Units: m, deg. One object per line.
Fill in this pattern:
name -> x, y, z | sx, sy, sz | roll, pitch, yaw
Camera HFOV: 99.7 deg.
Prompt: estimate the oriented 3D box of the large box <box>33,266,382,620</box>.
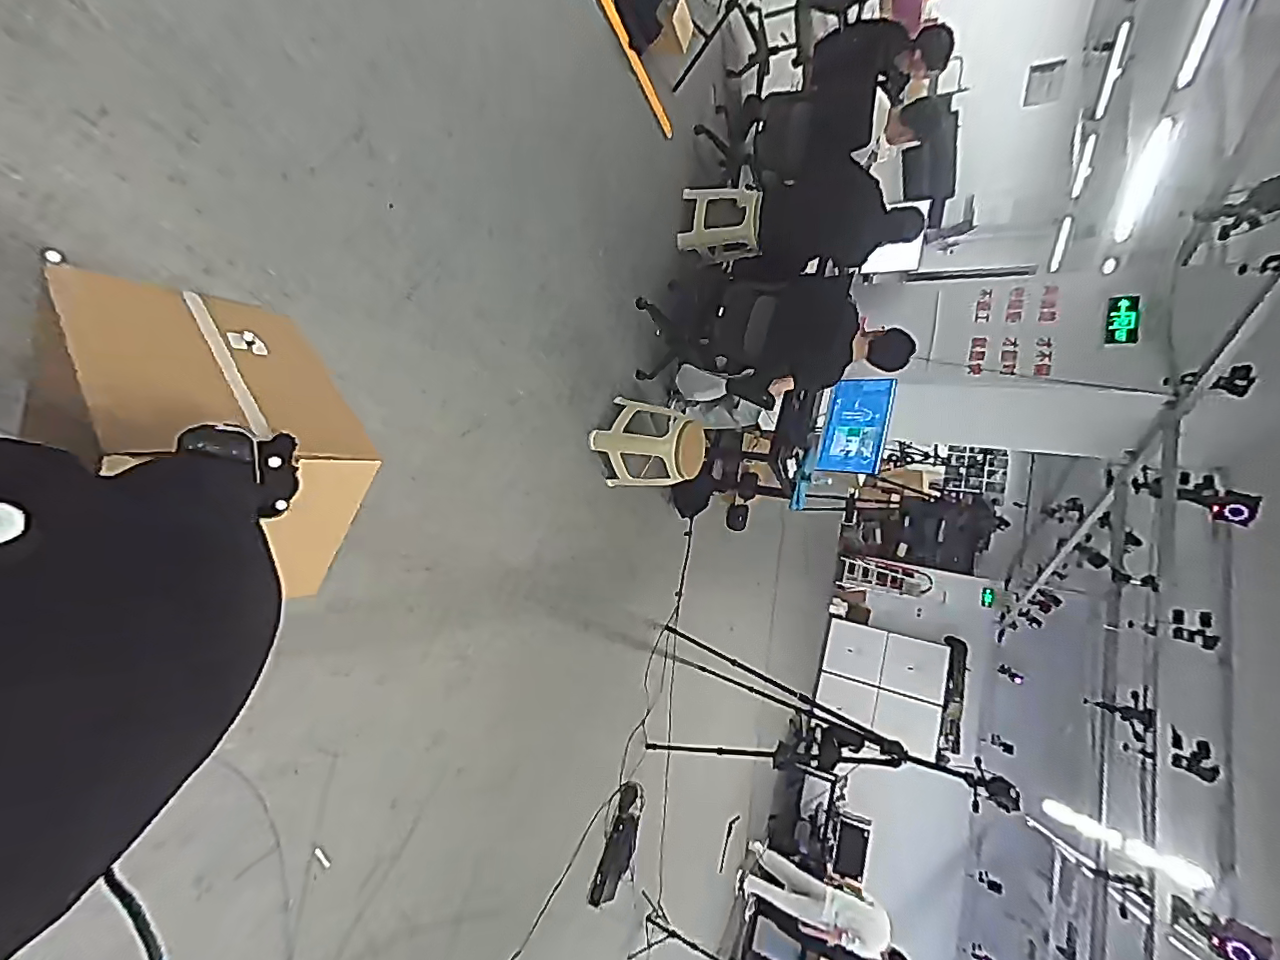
large box -> -0.685, -0.057, 0.850 | 0.320, 0.408, 0.320 | -1, 134, -56
